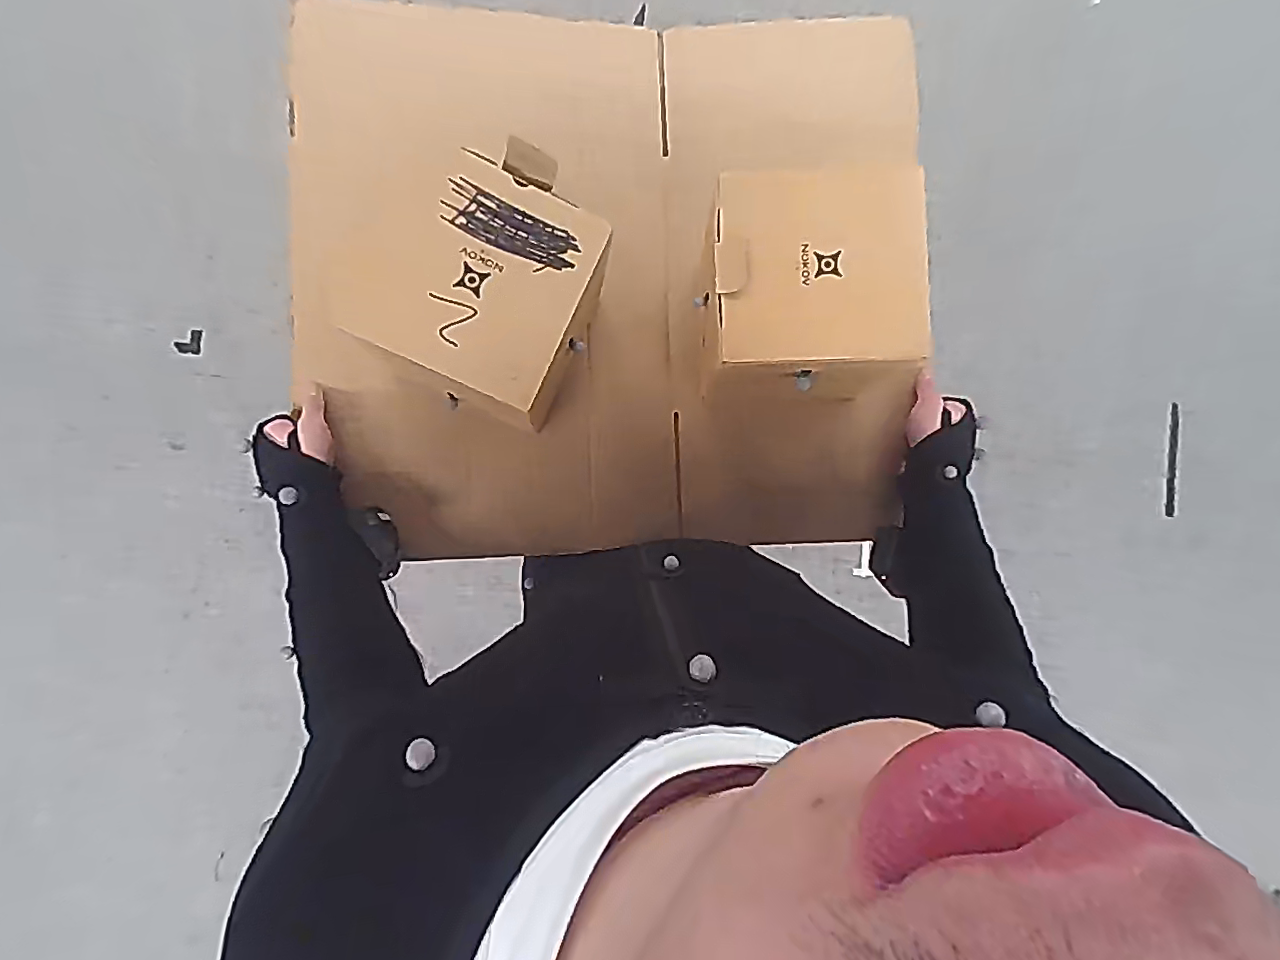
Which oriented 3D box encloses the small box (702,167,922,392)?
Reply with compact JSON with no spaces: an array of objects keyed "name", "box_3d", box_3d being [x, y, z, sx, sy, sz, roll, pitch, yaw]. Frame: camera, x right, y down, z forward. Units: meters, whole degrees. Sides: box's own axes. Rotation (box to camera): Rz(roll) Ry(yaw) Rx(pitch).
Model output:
[{"name":"small box","box_3d":[0.158,-0.187,0.550,0.179,0.176,0.168,-1,88,2]}]
